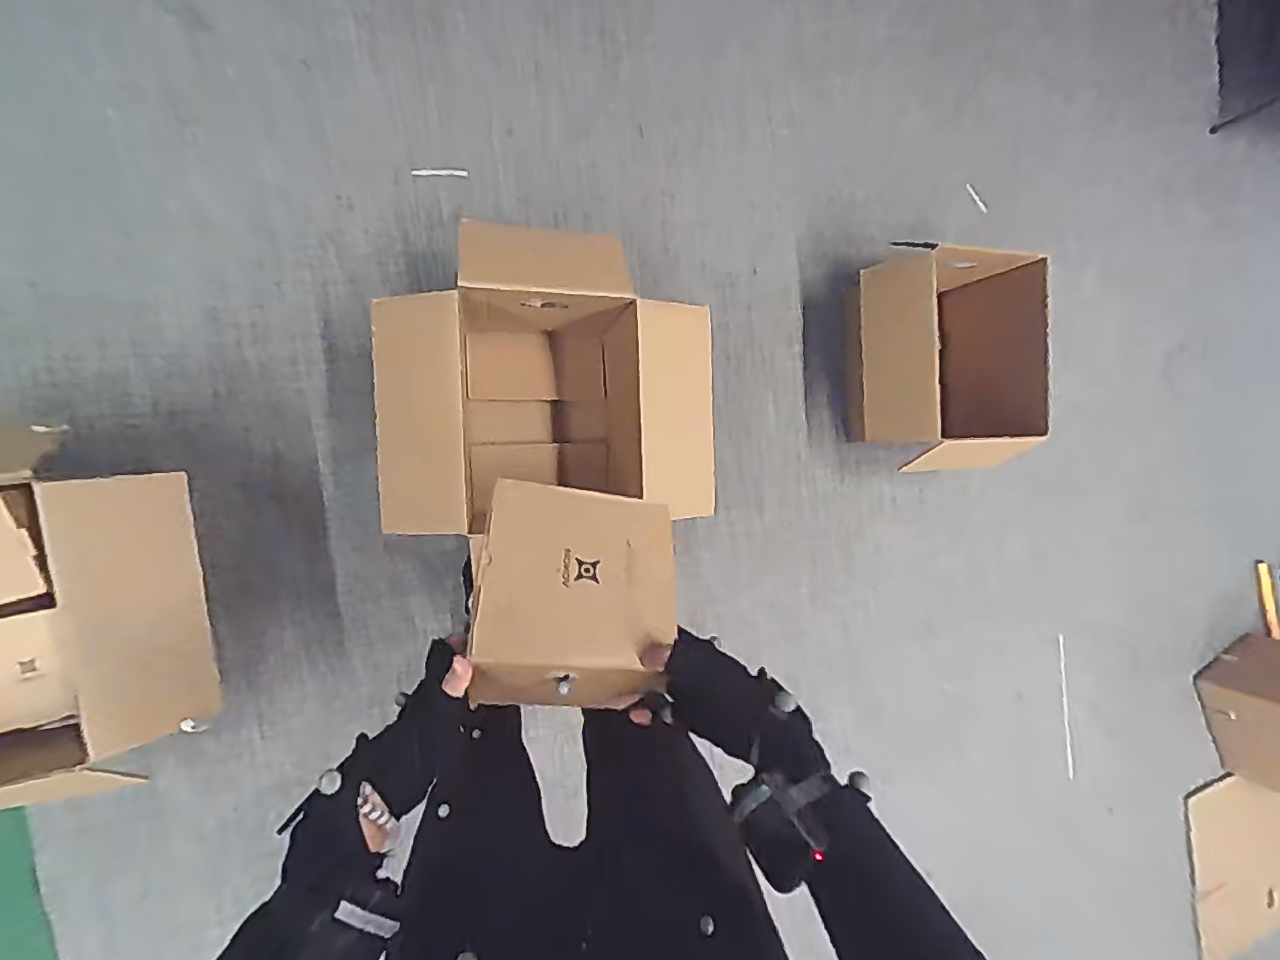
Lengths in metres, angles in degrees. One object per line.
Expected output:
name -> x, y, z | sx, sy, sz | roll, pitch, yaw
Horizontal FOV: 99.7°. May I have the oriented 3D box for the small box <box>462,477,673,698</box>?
small box -> -0.079, 0.119, 0.549 | 0.179, 0.176, 0.168 | 9, 56, -16
